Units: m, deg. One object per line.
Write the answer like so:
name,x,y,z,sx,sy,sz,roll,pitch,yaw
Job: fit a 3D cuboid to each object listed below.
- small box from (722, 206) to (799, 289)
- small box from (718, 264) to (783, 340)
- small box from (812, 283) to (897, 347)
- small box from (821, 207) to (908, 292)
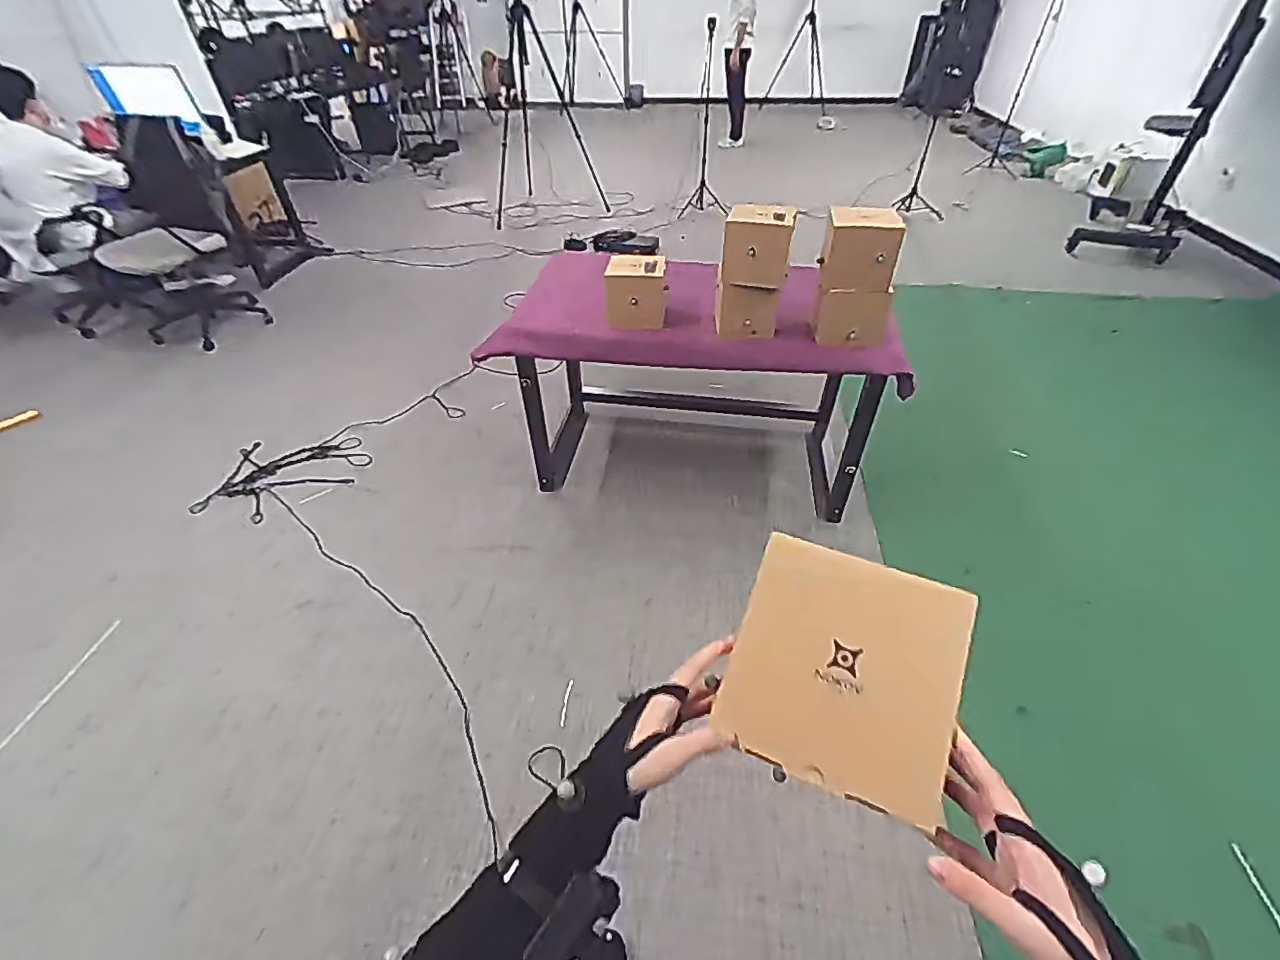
small box,0.333,-0.644,1.499,0.179,0.176,0.168,10,43,14
small box,0.325,-0.538,1.627,0.168,0.176,0.179,0,42,3
small box,0.615,-0.498,1.571,0.179,0.176,0.168,2,42,5
small box,0.600,-0.625,1.468,0.179,0.176,0.168,6,43,10
